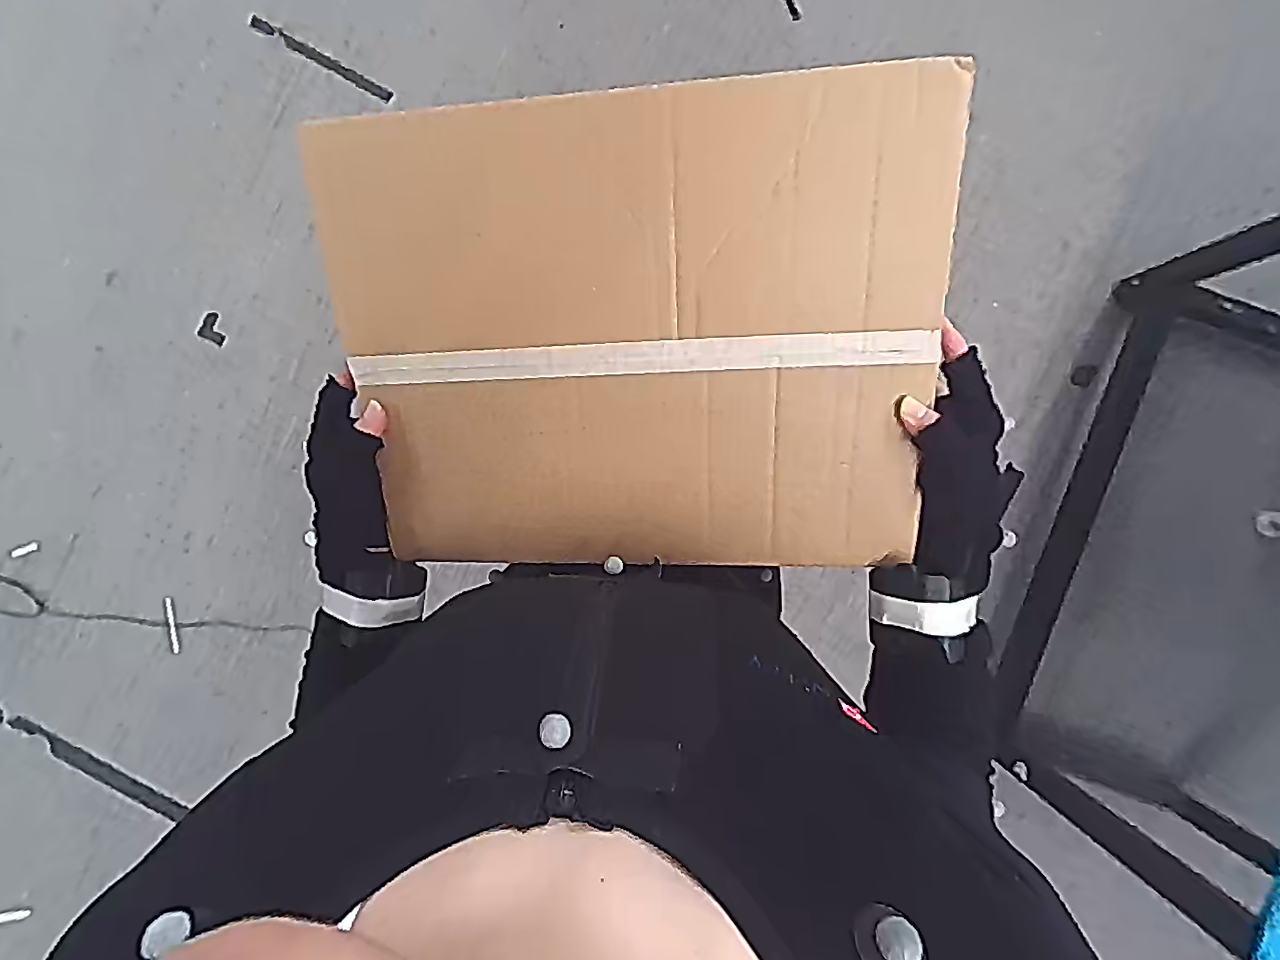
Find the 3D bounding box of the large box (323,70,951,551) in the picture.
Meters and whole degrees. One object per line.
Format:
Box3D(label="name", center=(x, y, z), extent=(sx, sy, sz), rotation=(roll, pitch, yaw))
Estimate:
Box3D(label="large box", center=(0.007, -0.138, 0.523), extent=(0.408, 0.320, 0.320), rotation=(-1, 111, 7))
